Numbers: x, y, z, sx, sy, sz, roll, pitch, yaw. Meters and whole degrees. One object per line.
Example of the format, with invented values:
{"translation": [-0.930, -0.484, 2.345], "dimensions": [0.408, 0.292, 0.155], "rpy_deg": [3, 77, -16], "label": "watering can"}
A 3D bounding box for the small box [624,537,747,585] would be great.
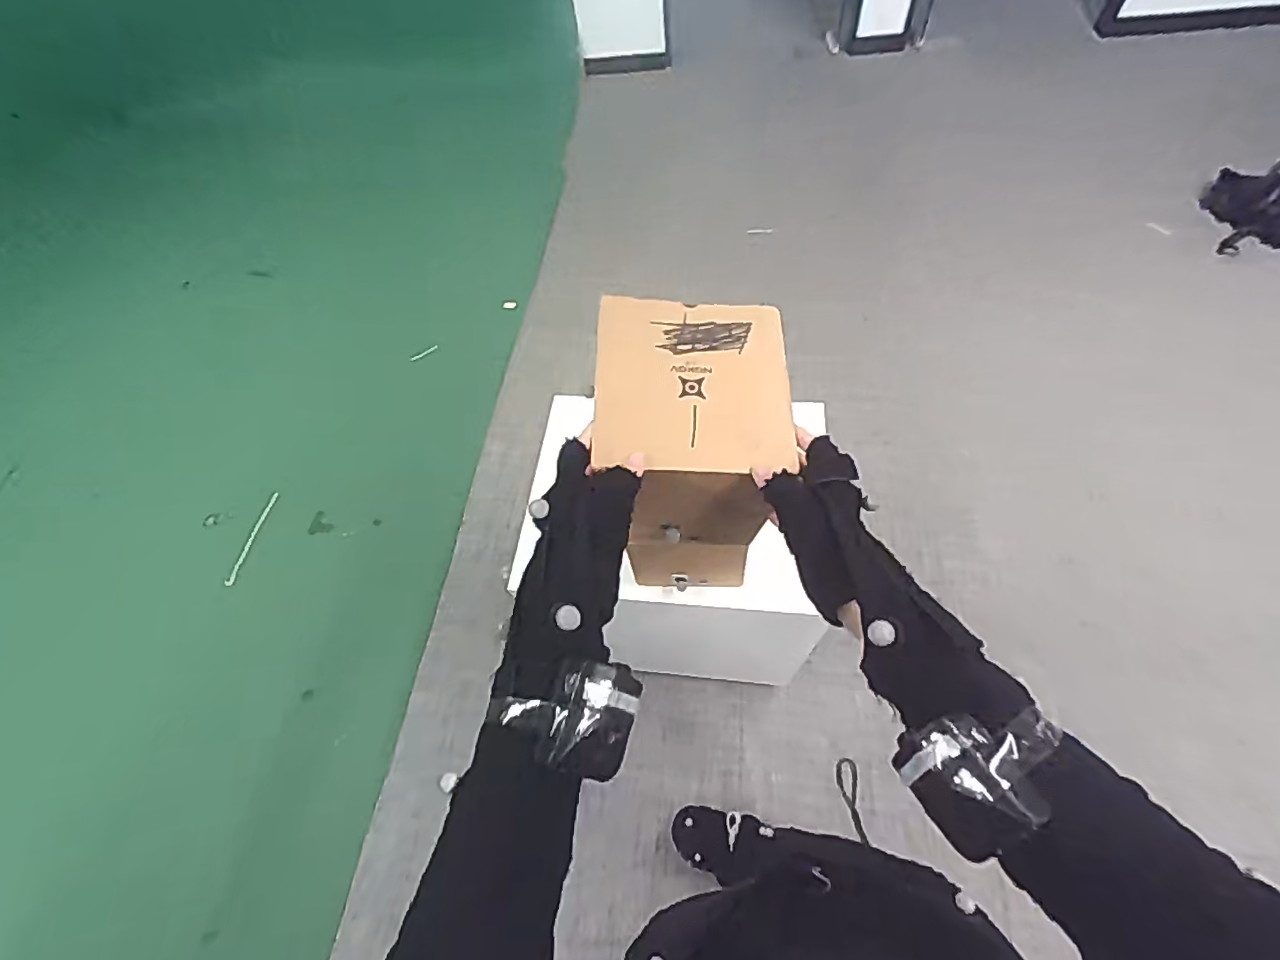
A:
{"translation": [0.067, 0.046, 0.803], "dimensions": [0.168, 0.176, 0.179], "rpy_deg": [-3, 60, 7], "label": "small box"}

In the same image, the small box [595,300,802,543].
{"translation": [0.039, -0.051, 0.528], "dimensions": [0.168, 0.176, 0.179], "rpy_deg": [-1, 62, -3], "label": "small box"}
